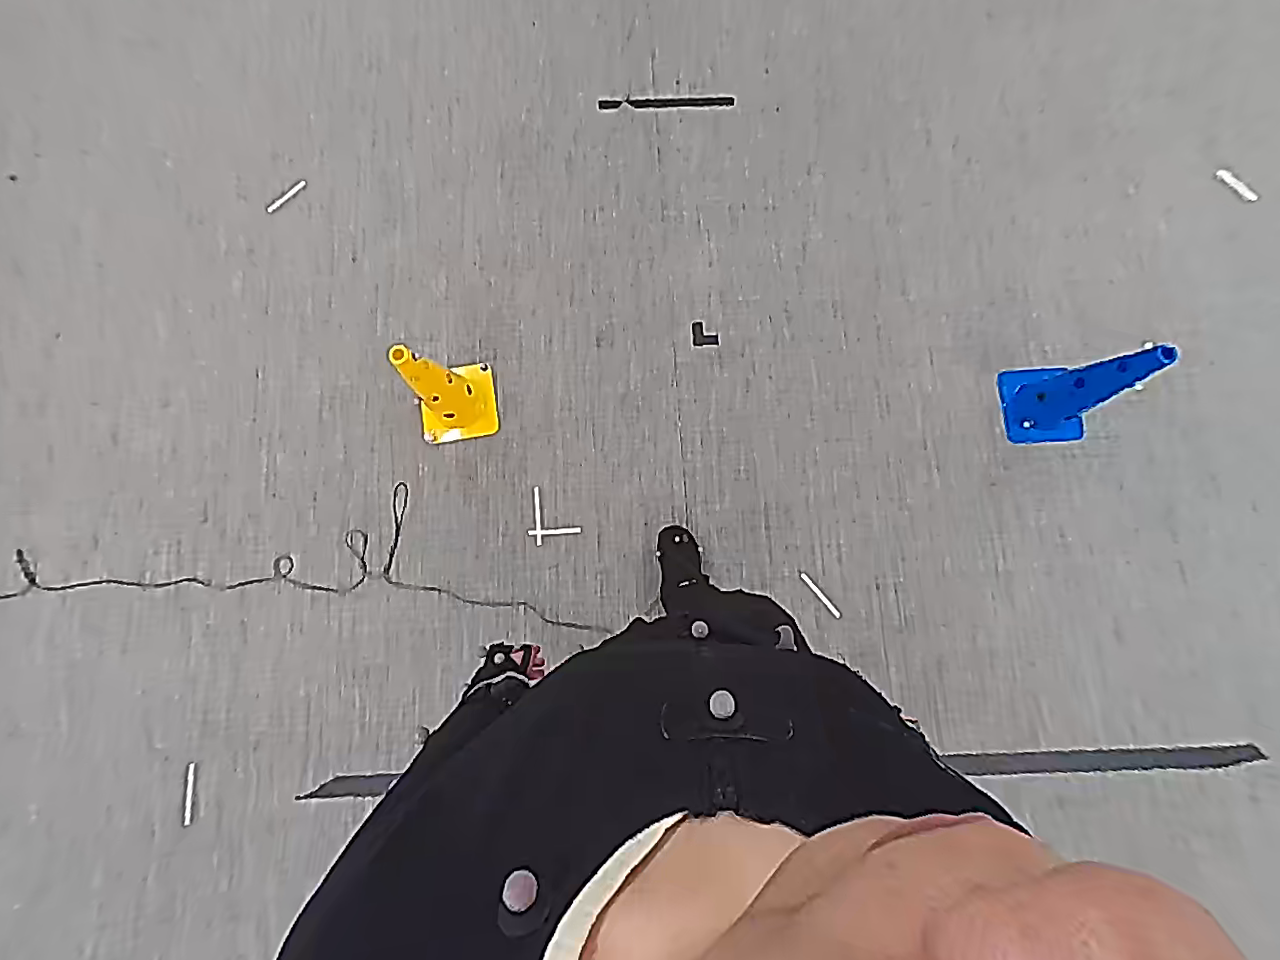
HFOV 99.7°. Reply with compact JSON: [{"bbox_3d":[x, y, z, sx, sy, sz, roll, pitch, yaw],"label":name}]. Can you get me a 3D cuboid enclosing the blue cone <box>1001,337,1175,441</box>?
[{"bbox_3d":[1.049,-0.225,1.252,0.193,0.380,0.192,-2,80,0],"label":"blue cone"}]
